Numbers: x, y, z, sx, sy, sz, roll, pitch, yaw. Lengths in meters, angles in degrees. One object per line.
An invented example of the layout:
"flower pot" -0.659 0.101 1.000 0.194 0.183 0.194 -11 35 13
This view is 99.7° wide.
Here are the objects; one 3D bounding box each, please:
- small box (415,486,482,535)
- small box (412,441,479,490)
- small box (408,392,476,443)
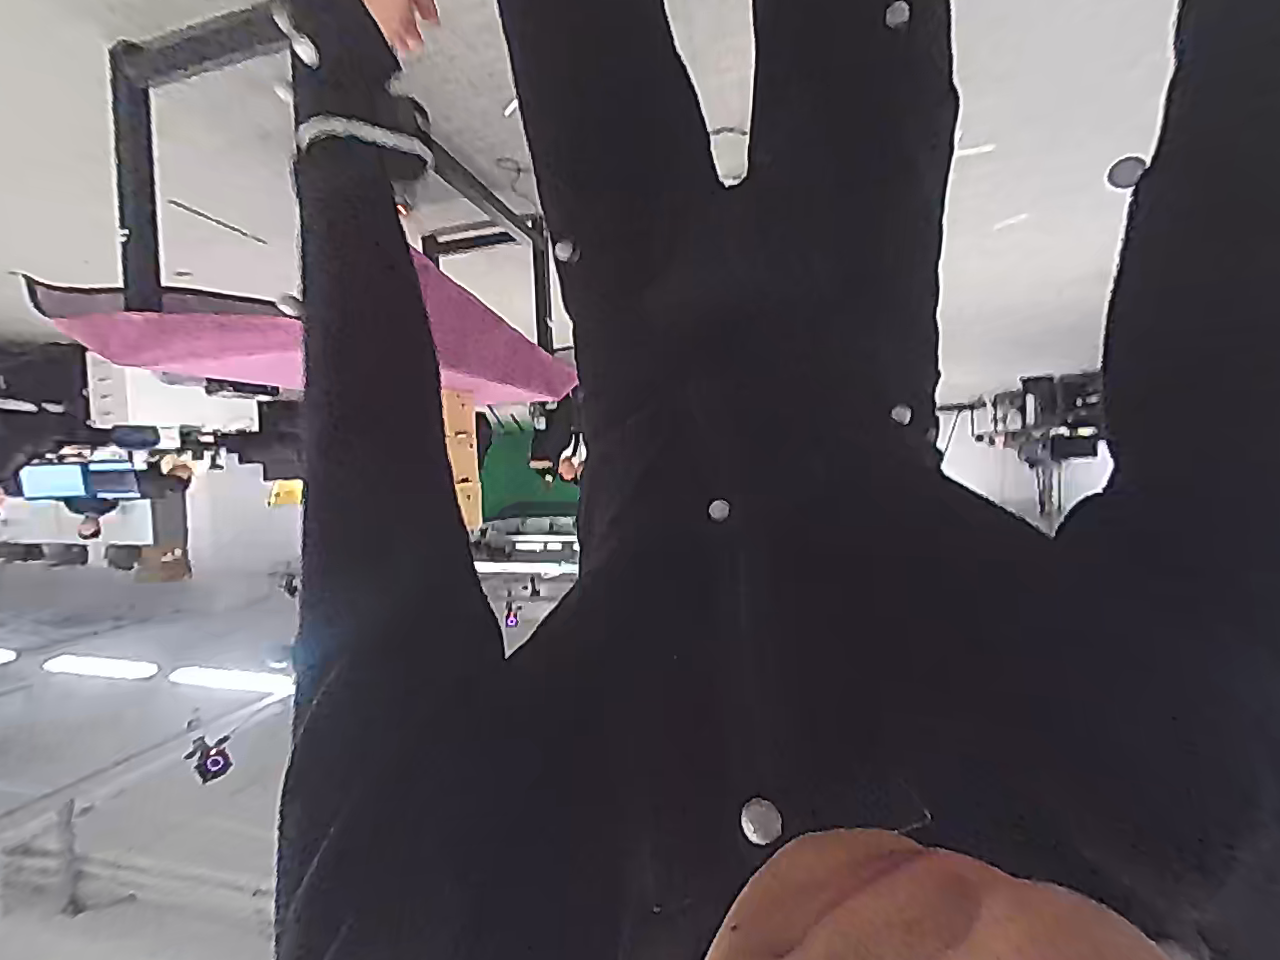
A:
"small box" -0.700 0.107 1.983 0.179 0.176 0.168 -2 -178 23
"small box" -0.708 -0.056 1.963 0.179 0.176 0.168 -1 -178 19
"small box" -0.714 -0.220 1.956 0.179 0.176 0.168 -2 -178 15
